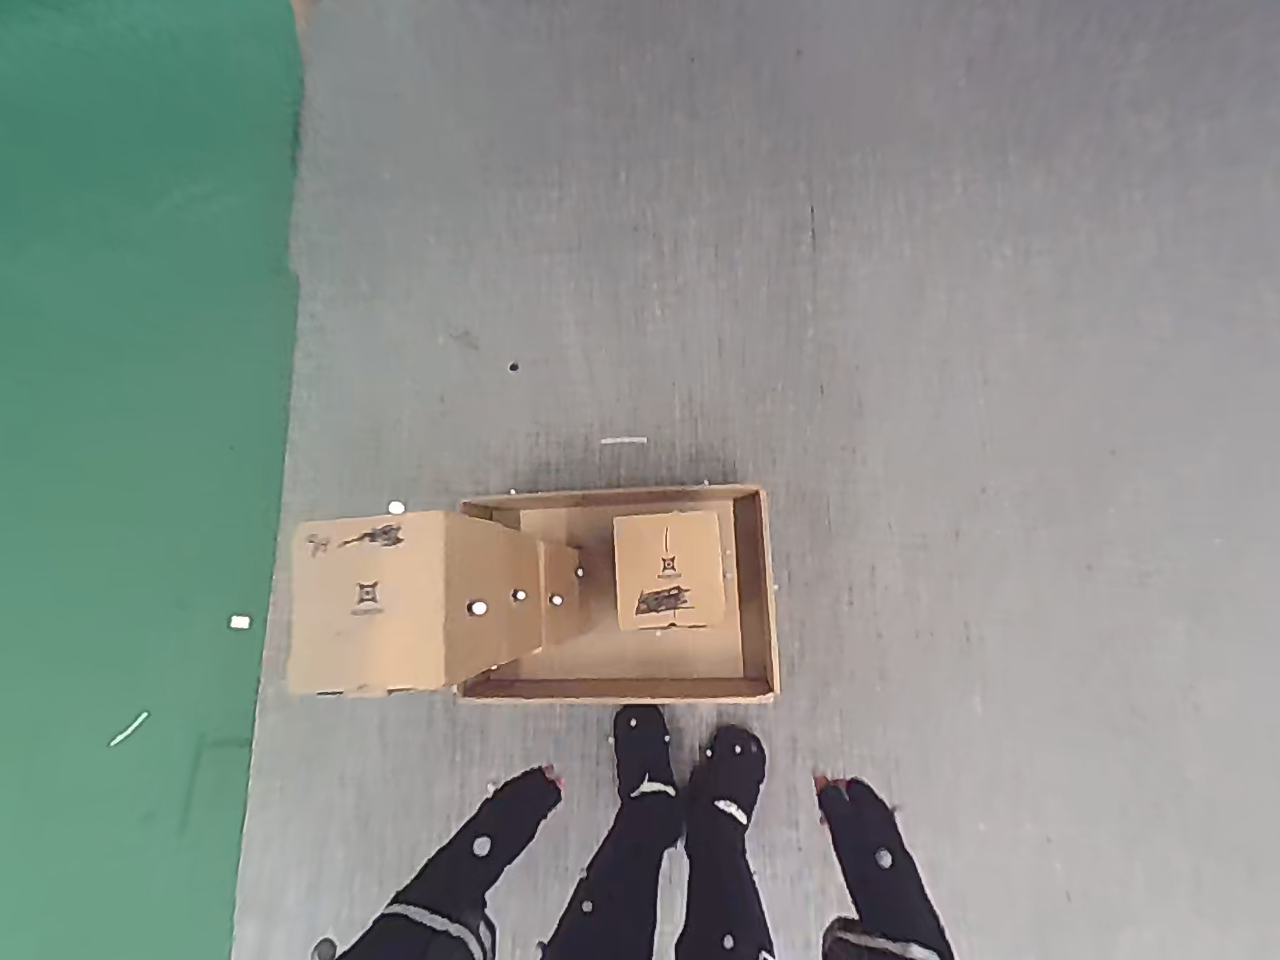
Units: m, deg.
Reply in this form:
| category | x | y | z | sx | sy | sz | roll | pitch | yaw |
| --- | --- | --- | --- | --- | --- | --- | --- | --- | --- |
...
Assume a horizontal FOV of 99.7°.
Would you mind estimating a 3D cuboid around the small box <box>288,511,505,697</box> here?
| category | x | y | z | sx | sy | sz | roll | pitch | yaw |
| --- | --- | --- | --- | --- | --- | --- | --- | --- | --- |
| small box | -0.259 | 0.132 | 0.610 | 0.168 | 0.176 | 0.179 | -4 | 81 | 5 |

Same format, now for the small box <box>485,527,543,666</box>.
| category | x | y | z | sx | sy | sz | roll | pitch | yaw |
| --- | --- | --- | --- | --- | --- | --- | --- | --- | --- |
| small box | -0.240 | 0.162 | 0.771 | 0.168 | 0.176 | 0.179 | -4 | 80 | 6 |

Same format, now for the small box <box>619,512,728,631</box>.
| category | x | y | z | sx | sy | sz | roll | pitch | yaw |
| --- | --- | --- | --- | --- | --- | --- | --- | --- | --- |
| small box | 0.062 | 0.146 | 0.890 | 0.168 | 0.176 | 0.179 | -1 | 81 | 7 |

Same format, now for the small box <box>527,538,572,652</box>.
| category | x | y | z | sx | sy | sz | roll | pitch | yaw |
| --- | --- | --- | --- | --- | --- | --- | --- | --- | --- |
| small box | -0.216 | 0.194 | 0.929 | 0.168 | 0.176 | 0.179 | -3 | 81 | 7 |
